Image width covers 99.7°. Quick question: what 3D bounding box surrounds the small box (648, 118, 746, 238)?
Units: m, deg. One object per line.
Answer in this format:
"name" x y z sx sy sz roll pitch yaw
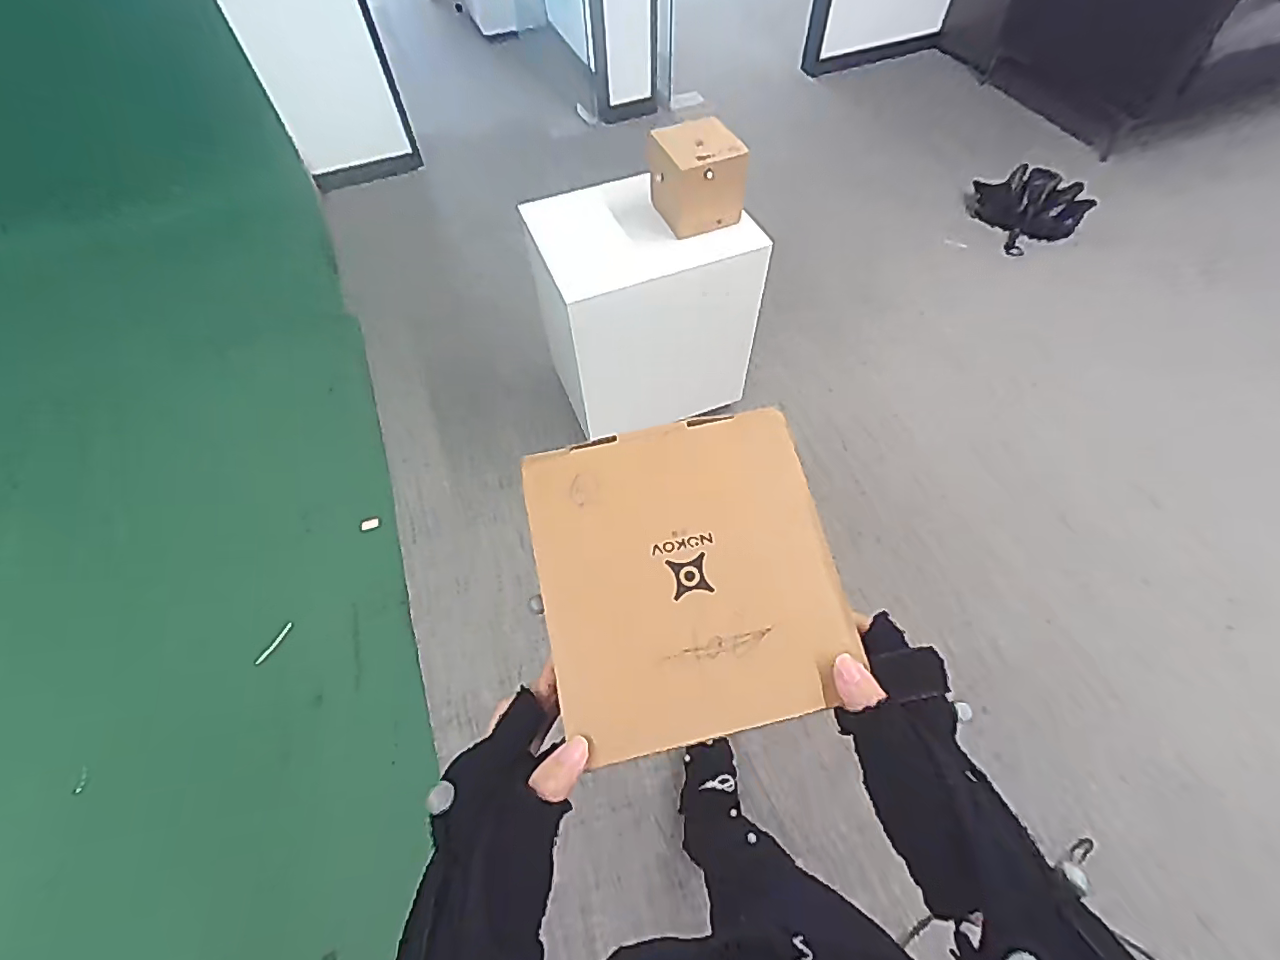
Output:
"small box" 0.126 -0.696 1.254 0.168 0.176 0.179 -21 59 -9

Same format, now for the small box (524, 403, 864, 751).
"small box" 0.022 0.071 0.387 0.168 0.176 0.179 -12 73 -5
